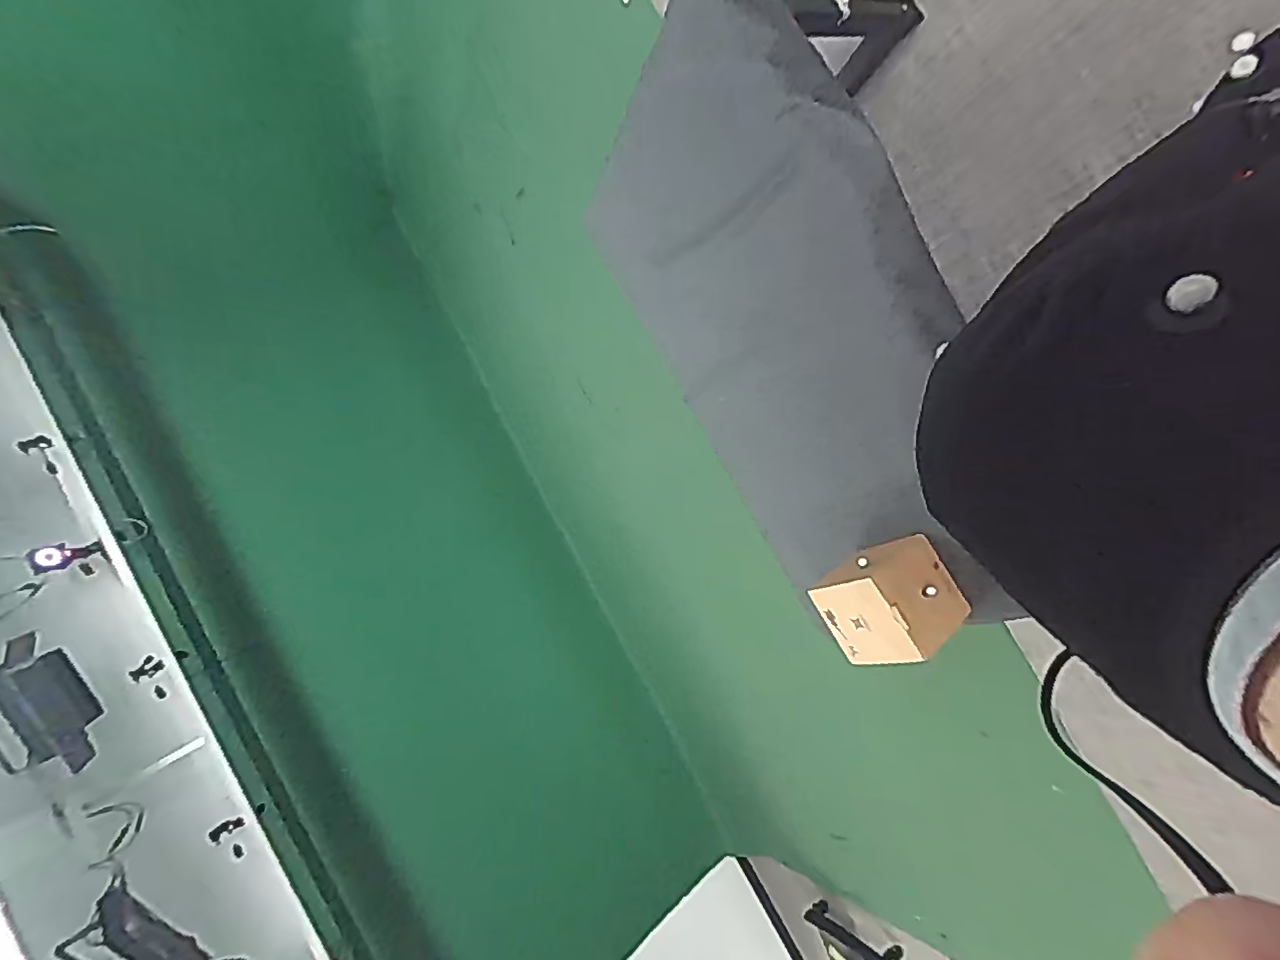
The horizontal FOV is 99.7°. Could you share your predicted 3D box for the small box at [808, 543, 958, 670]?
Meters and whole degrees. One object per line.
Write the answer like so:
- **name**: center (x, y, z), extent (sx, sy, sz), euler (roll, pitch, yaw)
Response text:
- **small box**: center (0.466, 0.240, 1.027), extent (0.168, 0.176, 0.179), euler (59, 149, 6)
